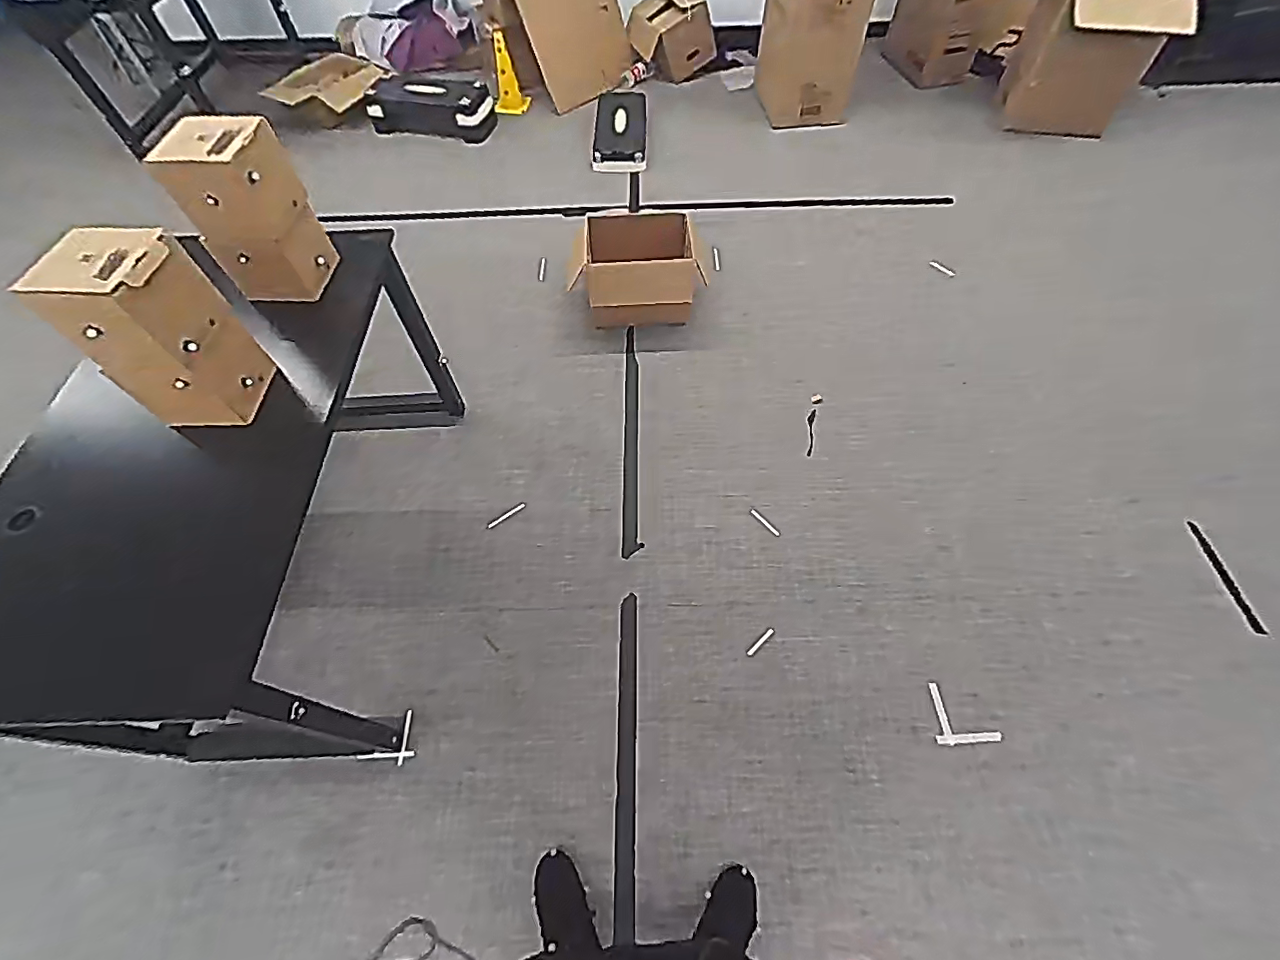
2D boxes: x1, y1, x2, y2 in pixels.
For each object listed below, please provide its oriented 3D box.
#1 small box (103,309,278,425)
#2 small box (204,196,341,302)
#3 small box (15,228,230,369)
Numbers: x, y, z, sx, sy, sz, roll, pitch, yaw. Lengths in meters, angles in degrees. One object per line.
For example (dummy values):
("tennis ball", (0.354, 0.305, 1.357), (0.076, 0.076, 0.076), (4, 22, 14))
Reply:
("small box", (-0.881, -0.222, 1.080), (0.179, 0.176, 0.168), (-1, 58, 1))
("small box", (-0.850, -0.538, 1.270), (0.179, 0.176, 0.168), (3, 60, 3))
("small box", (-0.876, -0.310, 0.941), (0.179, 0.176, 0.168), (3, 58, 4))
